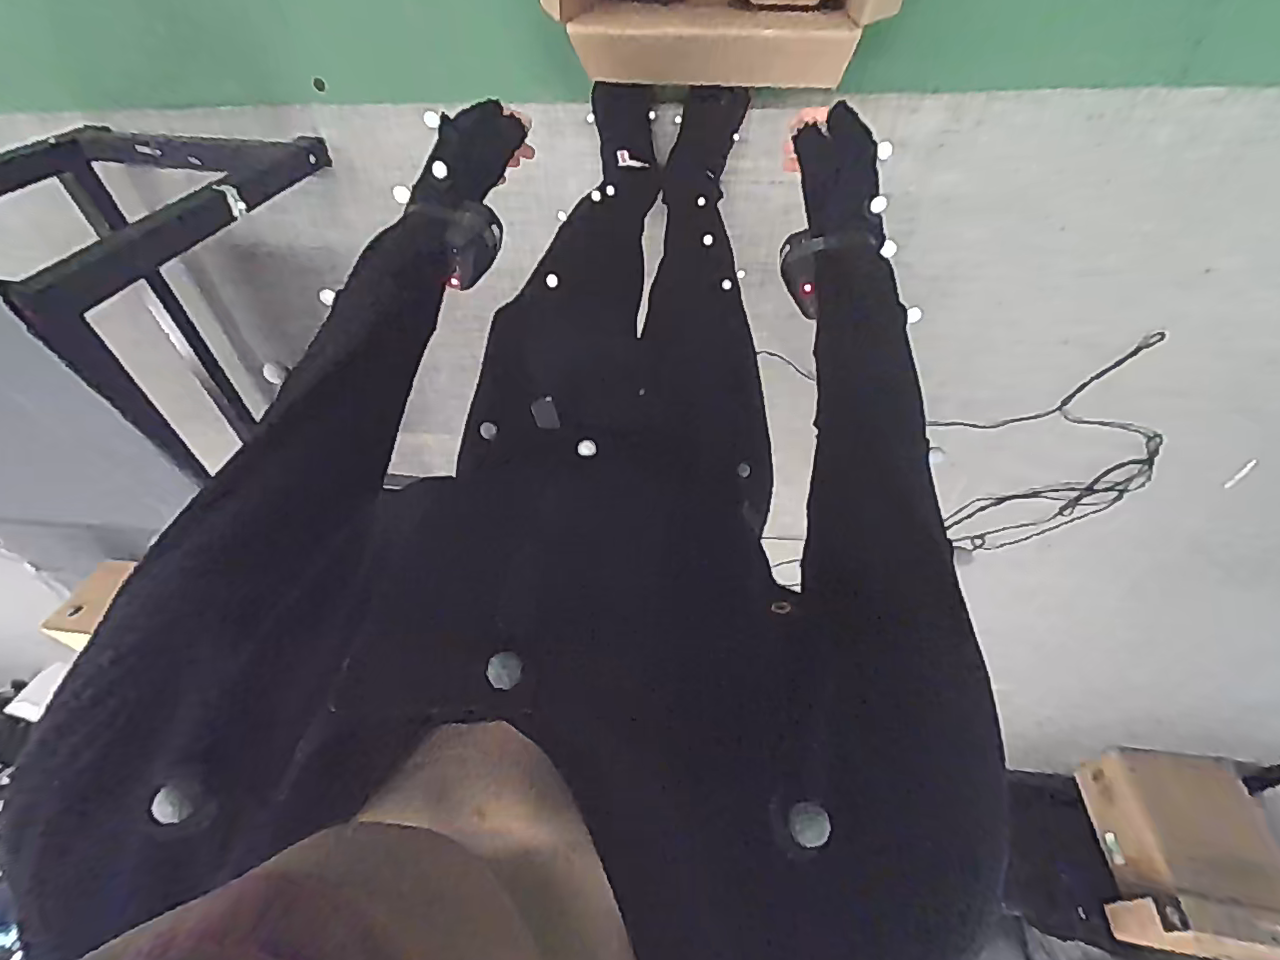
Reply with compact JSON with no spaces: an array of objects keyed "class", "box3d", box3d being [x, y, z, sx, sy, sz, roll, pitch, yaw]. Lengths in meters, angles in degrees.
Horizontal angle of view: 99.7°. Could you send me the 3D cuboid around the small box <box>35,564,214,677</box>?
[{"class":"small box","box3d":[-1.072,0.293,1.145,0.179,0.176,0.168,3,136,8]}]
